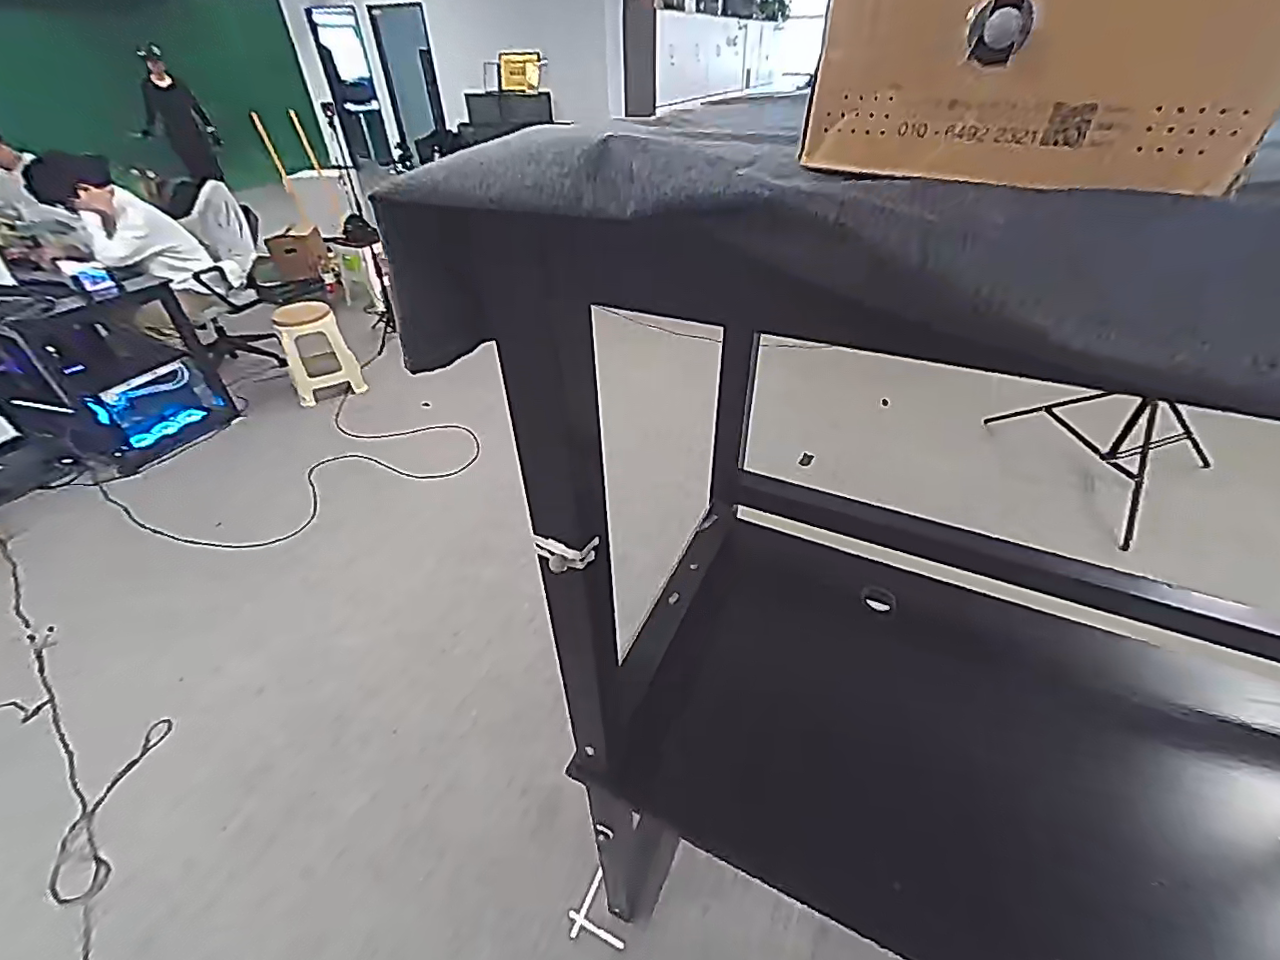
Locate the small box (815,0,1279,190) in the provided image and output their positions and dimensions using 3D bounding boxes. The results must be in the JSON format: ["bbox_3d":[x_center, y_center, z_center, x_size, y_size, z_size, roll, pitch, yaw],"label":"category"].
[{"bbox_3d":[0.190,-0.244,0.243,0.168,0.176,0.179,17,40,19],"label":"small box"}]
